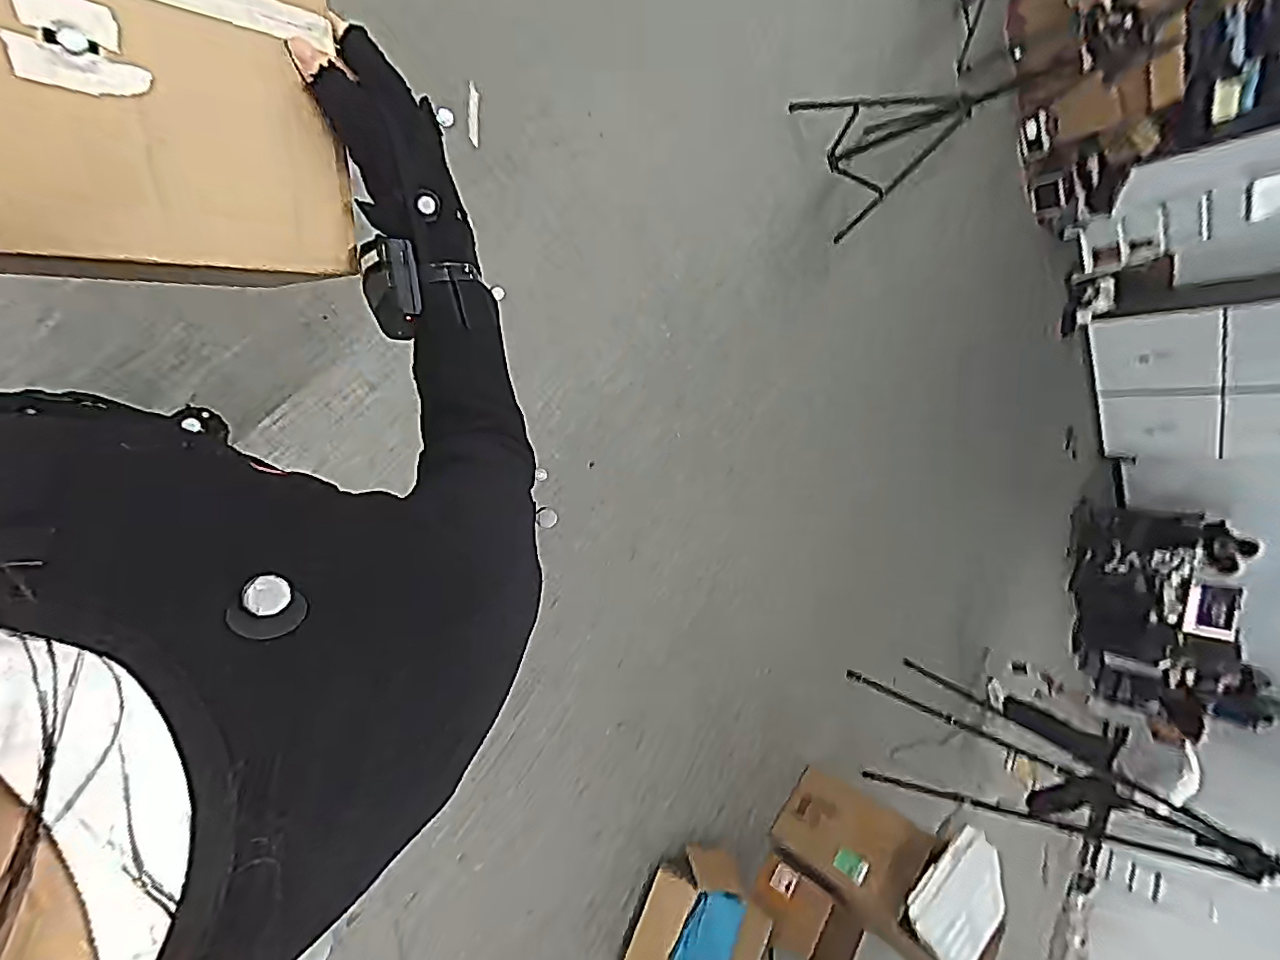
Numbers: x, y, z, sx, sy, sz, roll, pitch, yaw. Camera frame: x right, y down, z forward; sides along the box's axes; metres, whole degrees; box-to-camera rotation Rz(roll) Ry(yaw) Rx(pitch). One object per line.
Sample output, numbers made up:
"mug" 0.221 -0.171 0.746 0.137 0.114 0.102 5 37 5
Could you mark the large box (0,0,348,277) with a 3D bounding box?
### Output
"large box" -0.480 -0.310 0.360 0.408 0.320 0.320 -16 114 -42
